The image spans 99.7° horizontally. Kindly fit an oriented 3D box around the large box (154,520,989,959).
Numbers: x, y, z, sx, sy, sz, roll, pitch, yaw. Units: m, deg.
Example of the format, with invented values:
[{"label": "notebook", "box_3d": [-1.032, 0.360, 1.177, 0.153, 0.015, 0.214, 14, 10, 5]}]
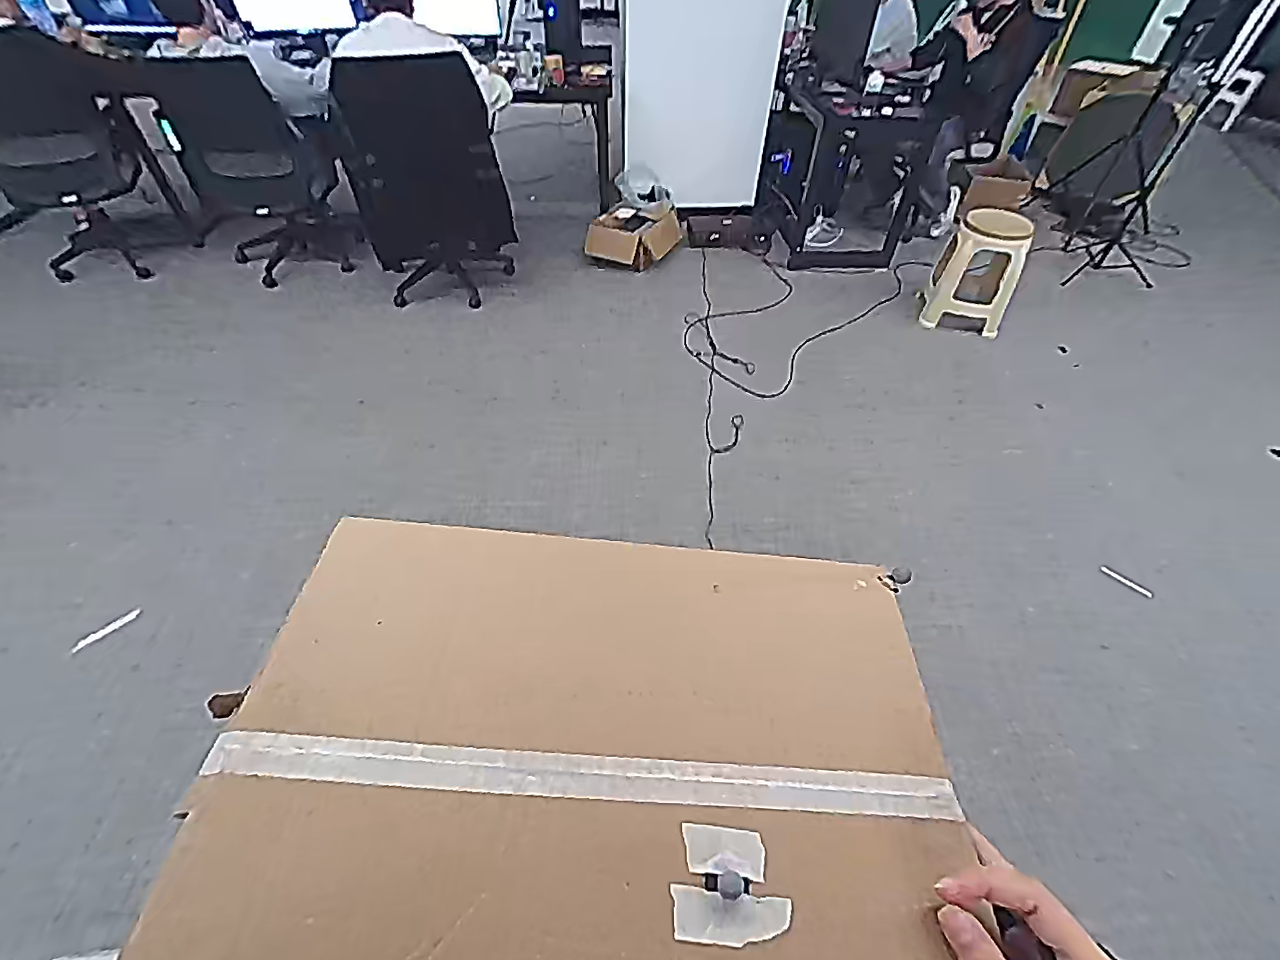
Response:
[{"label": "large box", "box_3d": [-0.035, 0.259, 0.426, 0.408, 0.320, 0.320, 6, 50, -3]}]
